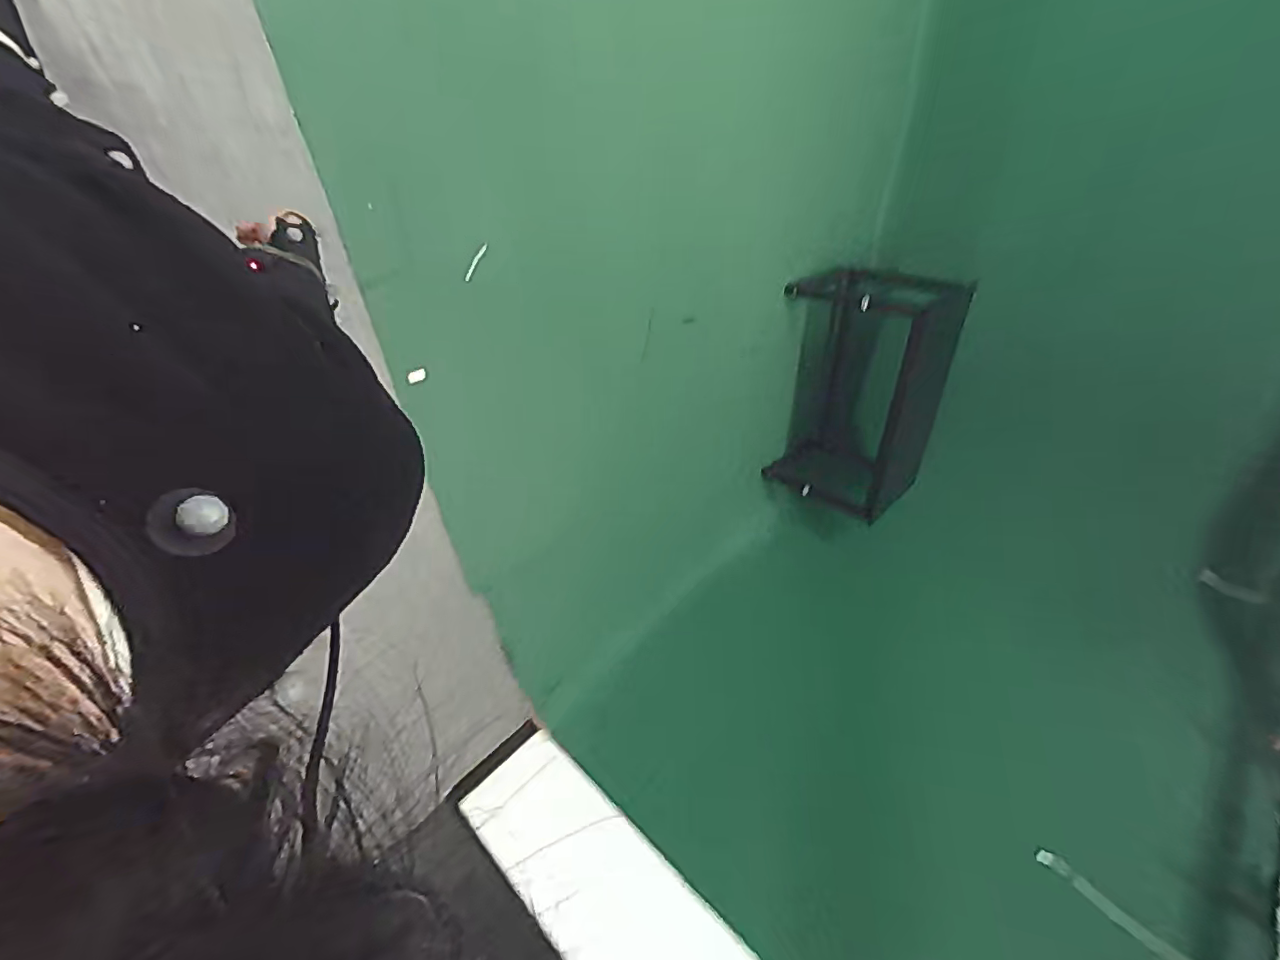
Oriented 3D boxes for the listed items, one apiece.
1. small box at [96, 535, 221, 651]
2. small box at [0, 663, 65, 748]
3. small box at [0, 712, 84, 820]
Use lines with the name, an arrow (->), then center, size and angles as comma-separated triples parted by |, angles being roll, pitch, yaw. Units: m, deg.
small box -> -1.113, 0.253, 1.248 | 0.179, 0.176, 0.168 | -23, 129, -42
small box -> -1.214, 0.463, 0.980 | 0.168, 0.176, 0.179 | -35, 136, -32
small box -> -1.089, 0.527, 0.893 | 0.179, 0.176, 0.168 | -34, 136, -32
